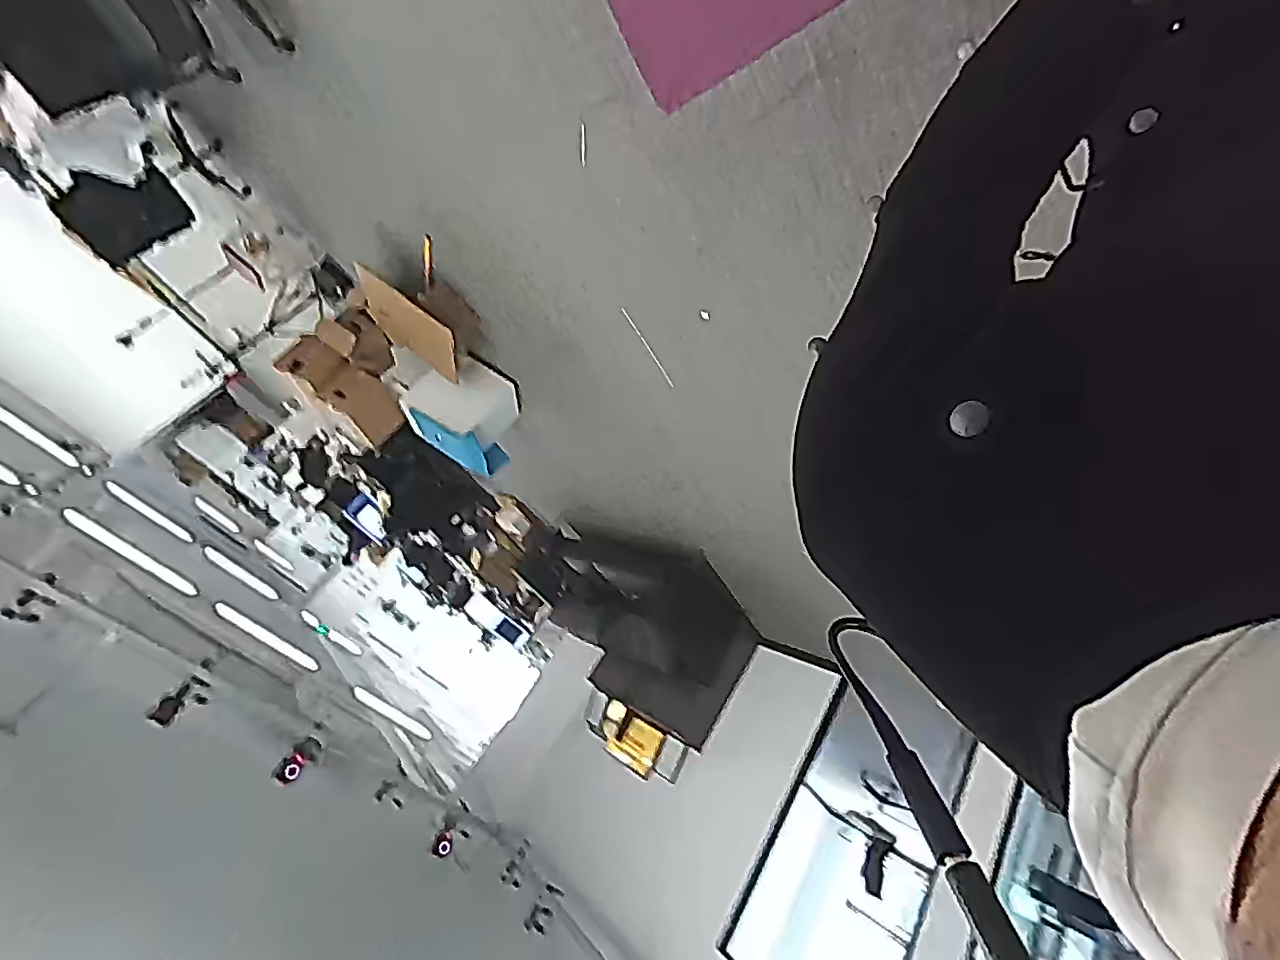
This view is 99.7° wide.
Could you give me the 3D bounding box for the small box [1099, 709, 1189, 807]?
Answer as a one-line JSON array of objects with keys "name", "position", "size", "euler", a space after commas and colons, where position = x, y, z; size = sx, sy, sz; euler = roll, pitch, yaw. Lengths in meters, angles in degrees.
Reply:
[{"name": "small box", "position": [1.491, 0.817, 1.601], "size": [0.168, 0.176, 0.179], "euler": [12, 146, 44]}]
